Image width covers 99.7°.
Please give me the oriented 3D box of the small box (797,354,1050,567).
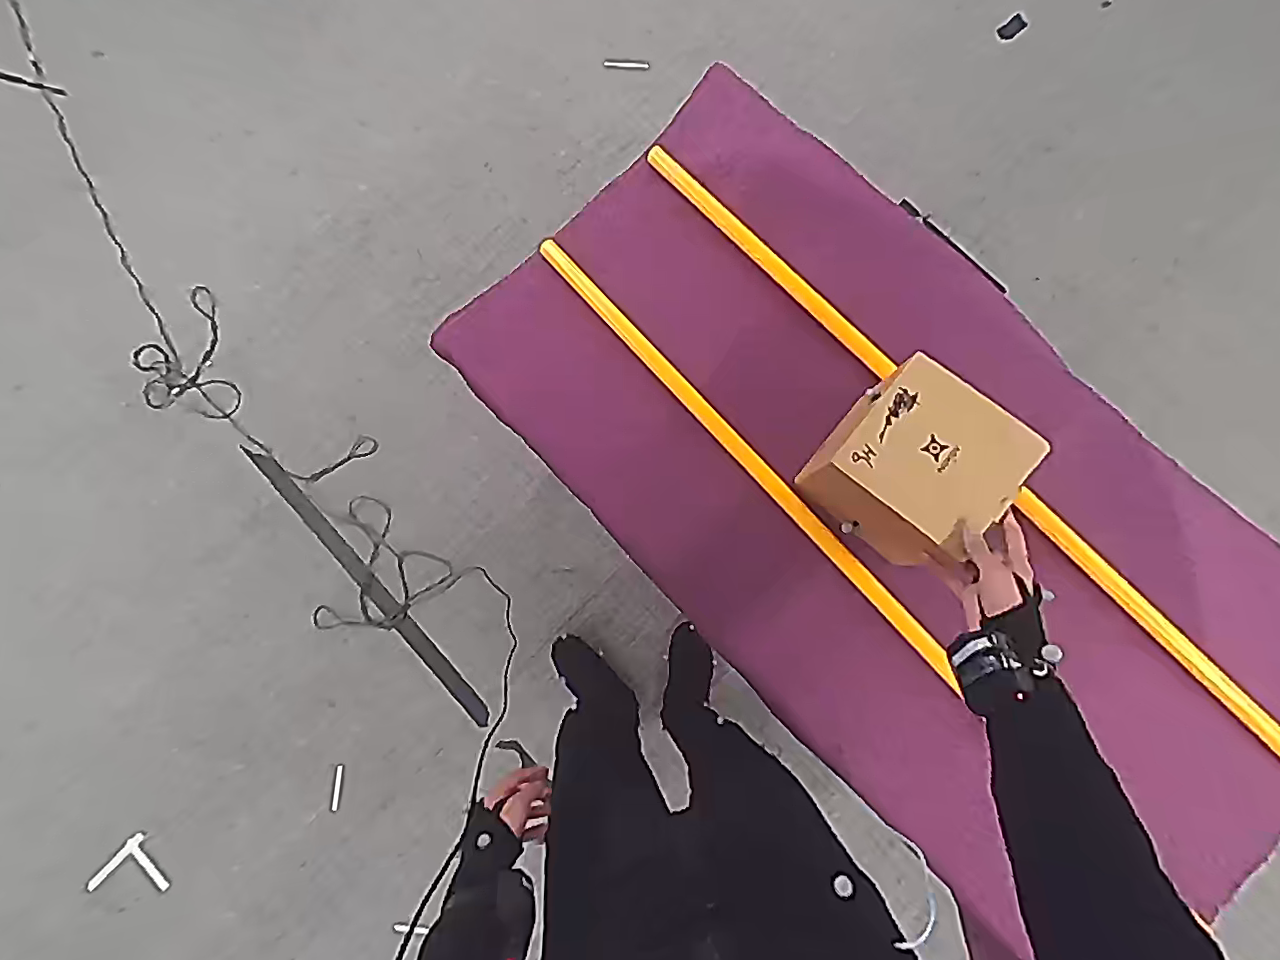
[{"bbox_3d":[0.323,-0.015,0.656,0.179,0.176,0.168,40,84,6],"label":"small box"}]
